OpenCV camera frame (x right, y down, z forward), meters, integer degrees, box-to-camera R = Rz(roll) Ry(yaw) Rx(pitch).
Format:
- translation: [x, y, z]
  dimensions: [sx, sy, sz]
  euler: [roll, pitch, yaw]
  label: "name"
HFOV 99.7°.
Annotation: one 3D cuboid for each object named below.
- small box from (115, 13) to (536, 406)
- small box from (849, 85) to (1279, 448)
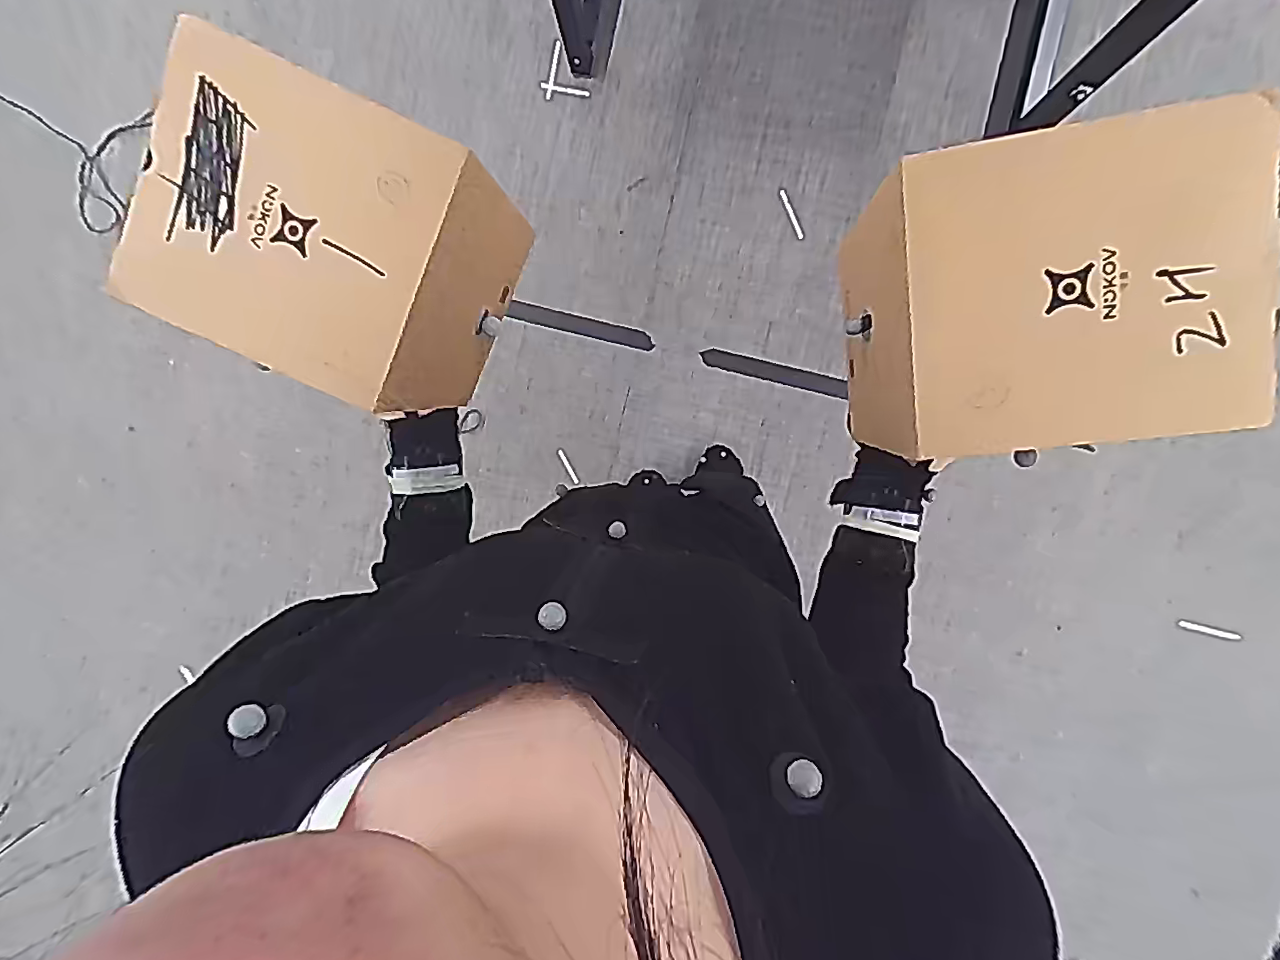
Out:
- translation: [-0.198, -0.163, 0.390]
  dimensions: [0.179, 0.176, 0.168]
  euler: [25, 100, -3]
  label: "small box"
- translation: [0.247, -0.115, 0.364]
  dimensions: [0.179, 0.176, 0.168]
  euler: [-6, 98, 9]
  label: "small box"
